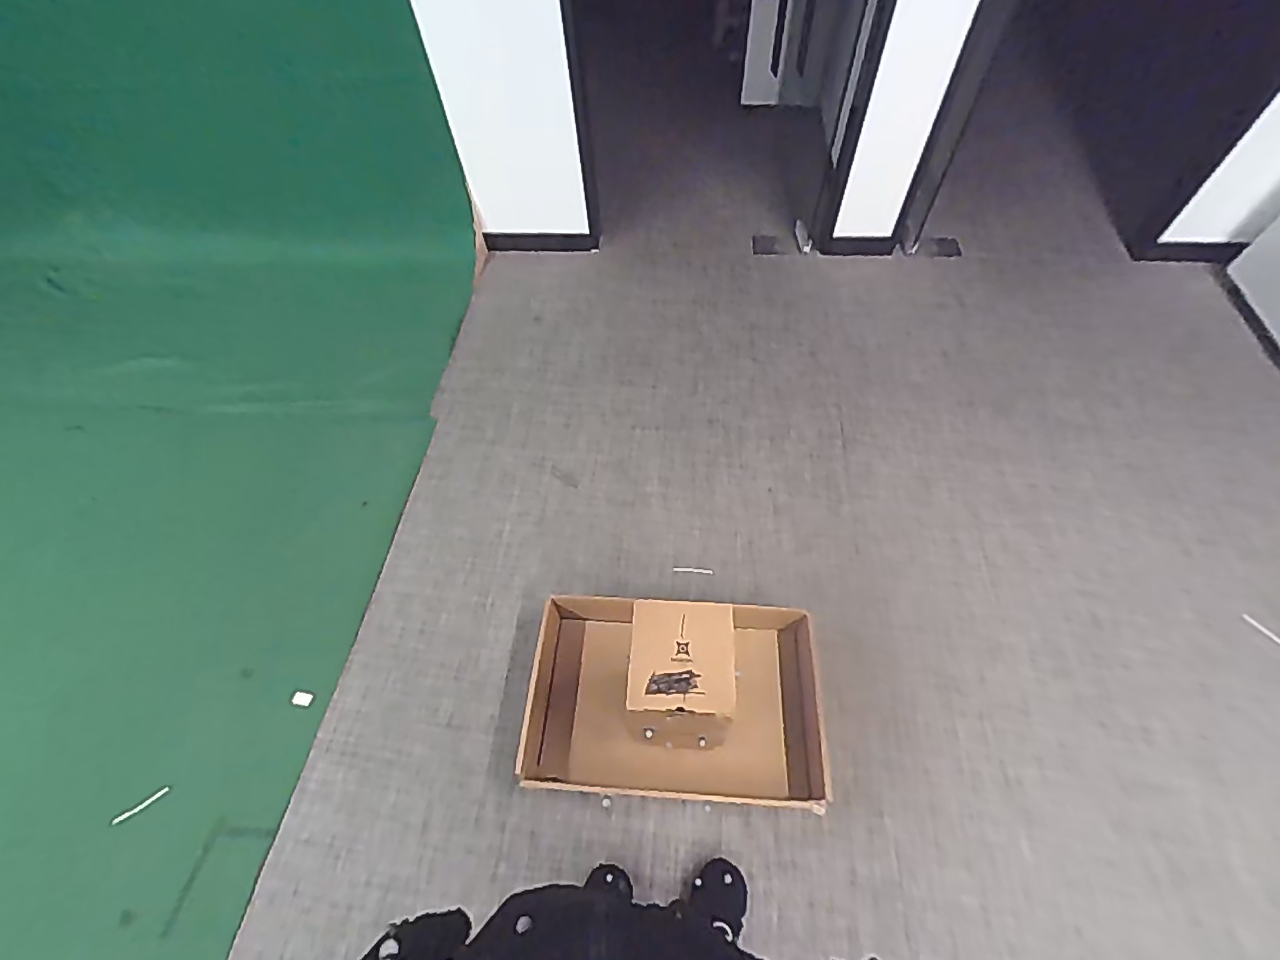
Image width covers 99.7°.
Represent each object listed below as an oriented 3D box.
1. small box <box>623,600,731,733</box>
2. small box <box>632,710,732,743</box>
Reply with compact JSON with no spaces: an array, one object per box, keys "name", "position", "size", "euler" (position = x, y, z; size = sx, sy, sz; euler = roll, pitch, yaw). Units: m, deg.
[{"name":"small box","position":[0.066,0.321,0.920],"size":[0.168,0.176,0.179],"euler":[2,55,4]},{"name":"small box","position":[0.076,0.404,1.042],"size":[0.179,0.176,0.168],"euler":[-1,56,2]}]
